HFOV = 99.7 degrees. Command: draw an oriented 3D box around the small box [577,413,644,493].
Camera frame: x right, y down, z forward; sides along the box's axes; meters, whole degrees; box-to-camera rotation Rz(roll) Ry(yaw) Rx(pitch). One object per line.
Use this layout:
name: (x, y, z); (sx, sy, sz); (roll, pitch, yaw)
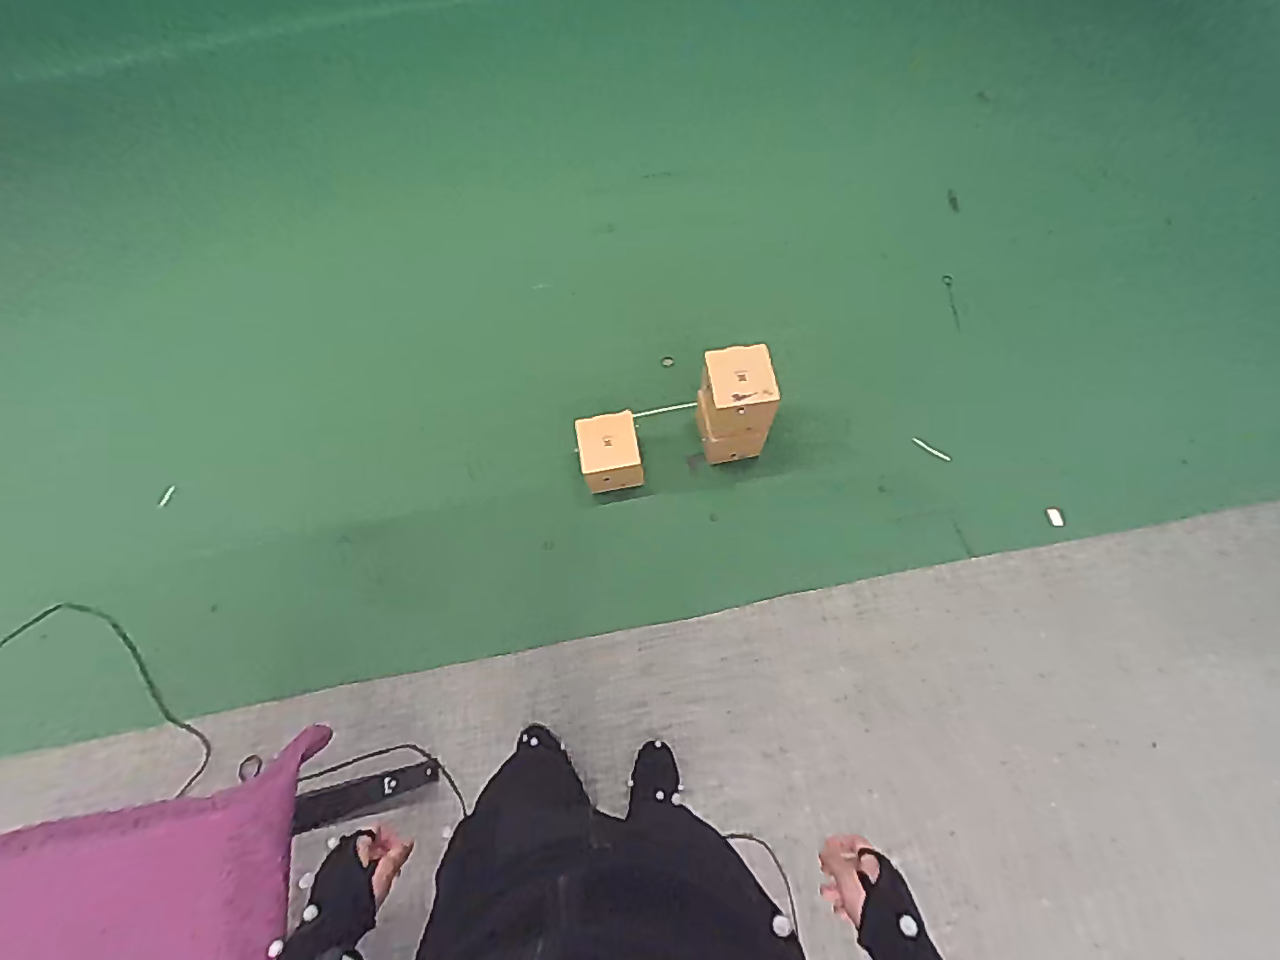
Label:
small box: (-0.084, -0.073, 1.601); (0.168, 0.176, 0.179); (-11, 67, 0)

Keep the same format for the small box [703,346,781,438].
small box: (0.268, -0.235, 1.464); (0.168, 0.176, 0.179); (-8, 68, 0)
